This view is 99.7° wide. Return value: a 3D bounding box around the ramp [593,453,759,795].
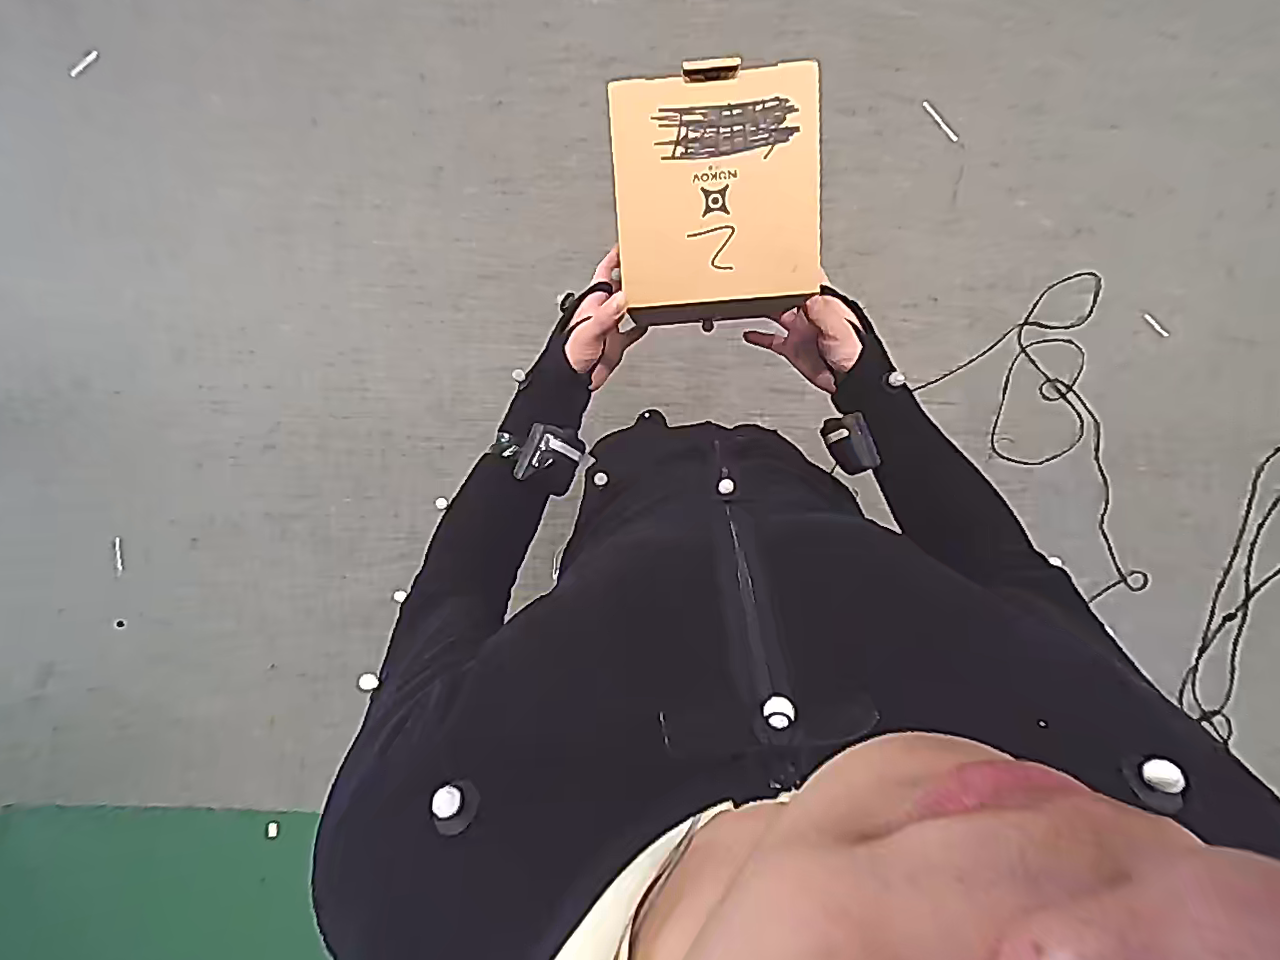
[{"bbox_3d":[0.106,0.415,1.609,0.509,0.206,0.991,-1,96,1],"label":"ramp"}]
